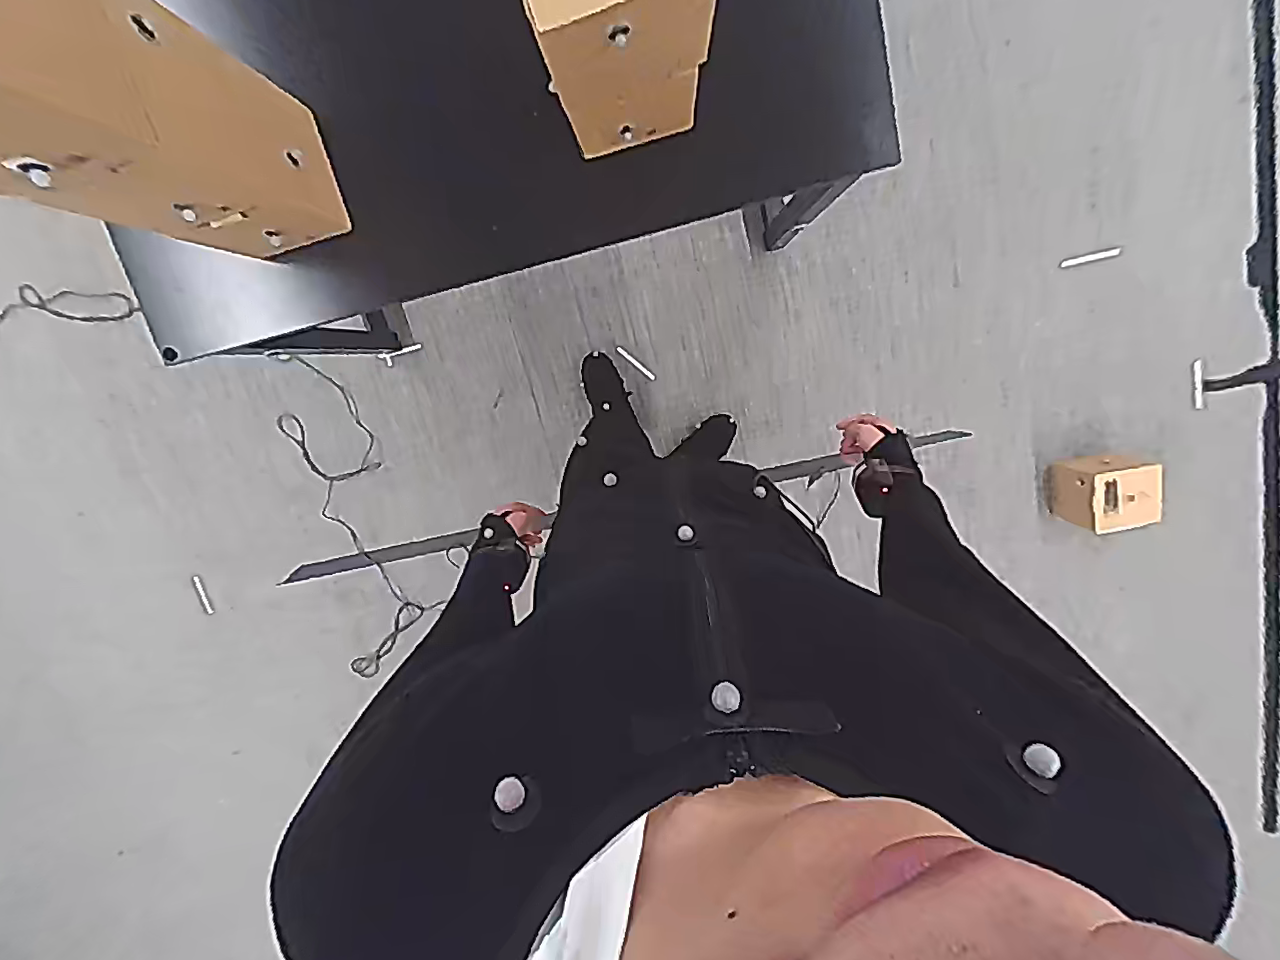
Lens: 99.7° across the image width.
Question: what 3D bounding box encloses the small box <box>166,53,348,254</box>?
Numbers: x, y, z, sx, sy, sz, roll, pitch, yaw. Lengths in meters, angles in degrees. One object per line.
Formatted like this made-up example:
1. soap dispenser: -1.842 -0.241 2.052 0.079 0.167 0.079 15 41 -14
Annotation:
1. small box: -0.544 -0.424 0.743 0.168 0.176 0.179 -15 102 5

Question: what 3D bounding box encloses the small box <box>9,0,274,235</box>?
1. small box: -0.550 -0.391 0.582 0.168 0.176 0.179 -14 102 6

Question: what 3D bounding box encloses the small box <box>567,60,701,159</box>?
1. small box: -0.025 -0.554 0.695 0.168 0.176 0.179 -14 102 5

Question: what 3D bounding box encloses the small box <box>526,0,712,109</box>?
1. small box: -0.029 -0.512 0.536 0.179 0.176 0.168 -17 102 5
